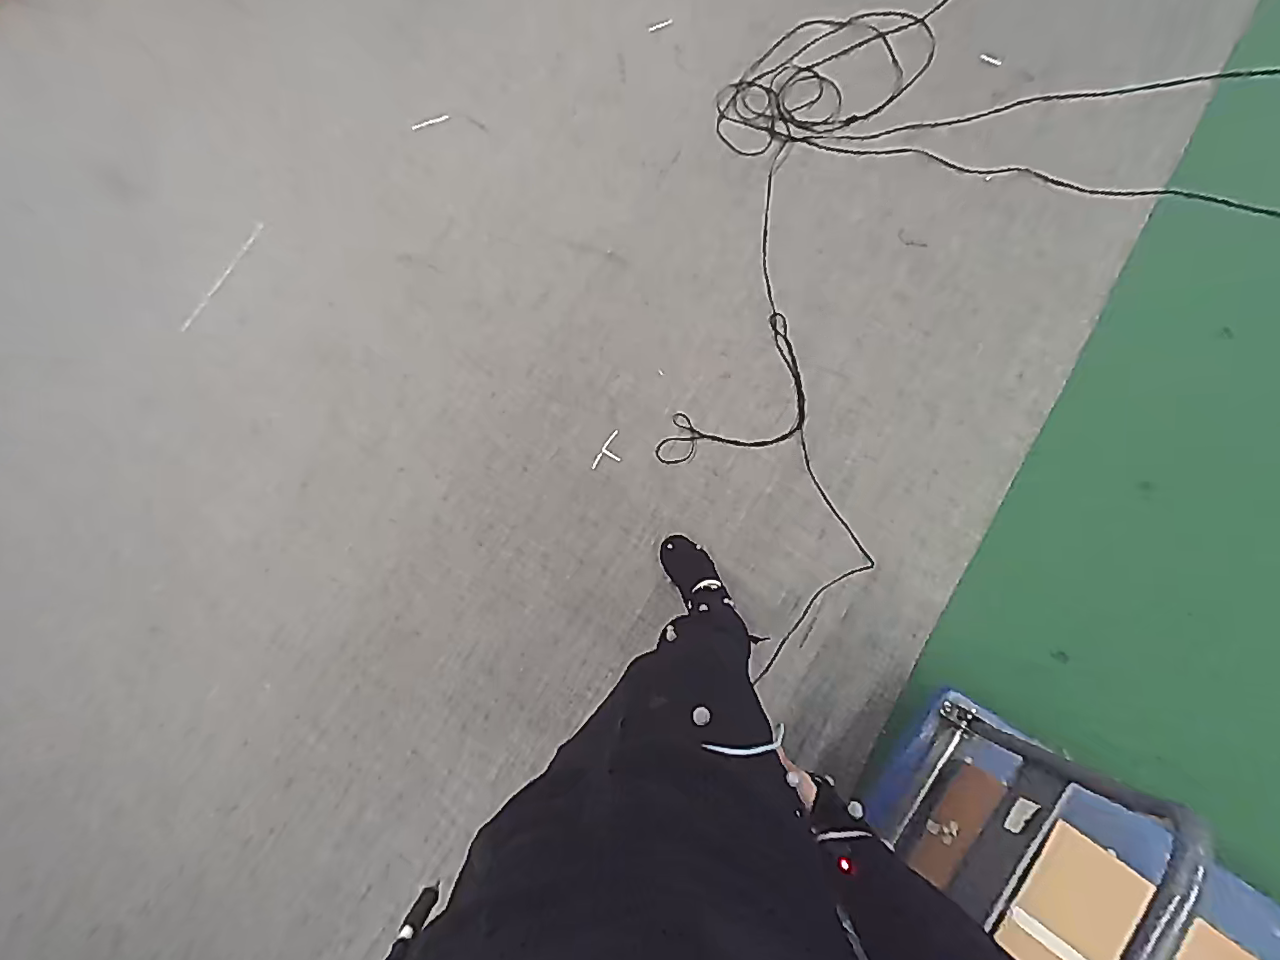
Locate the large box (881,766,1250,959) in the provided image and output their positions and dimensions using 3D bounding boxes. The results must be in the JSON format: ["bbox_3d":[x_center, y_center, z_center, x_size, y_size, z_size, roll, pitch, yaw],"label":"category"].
[{"bbox_3d":[0.719,0.793,0.940,0.408,0.320,0.320,35,84,12],"label":"large box"}]
